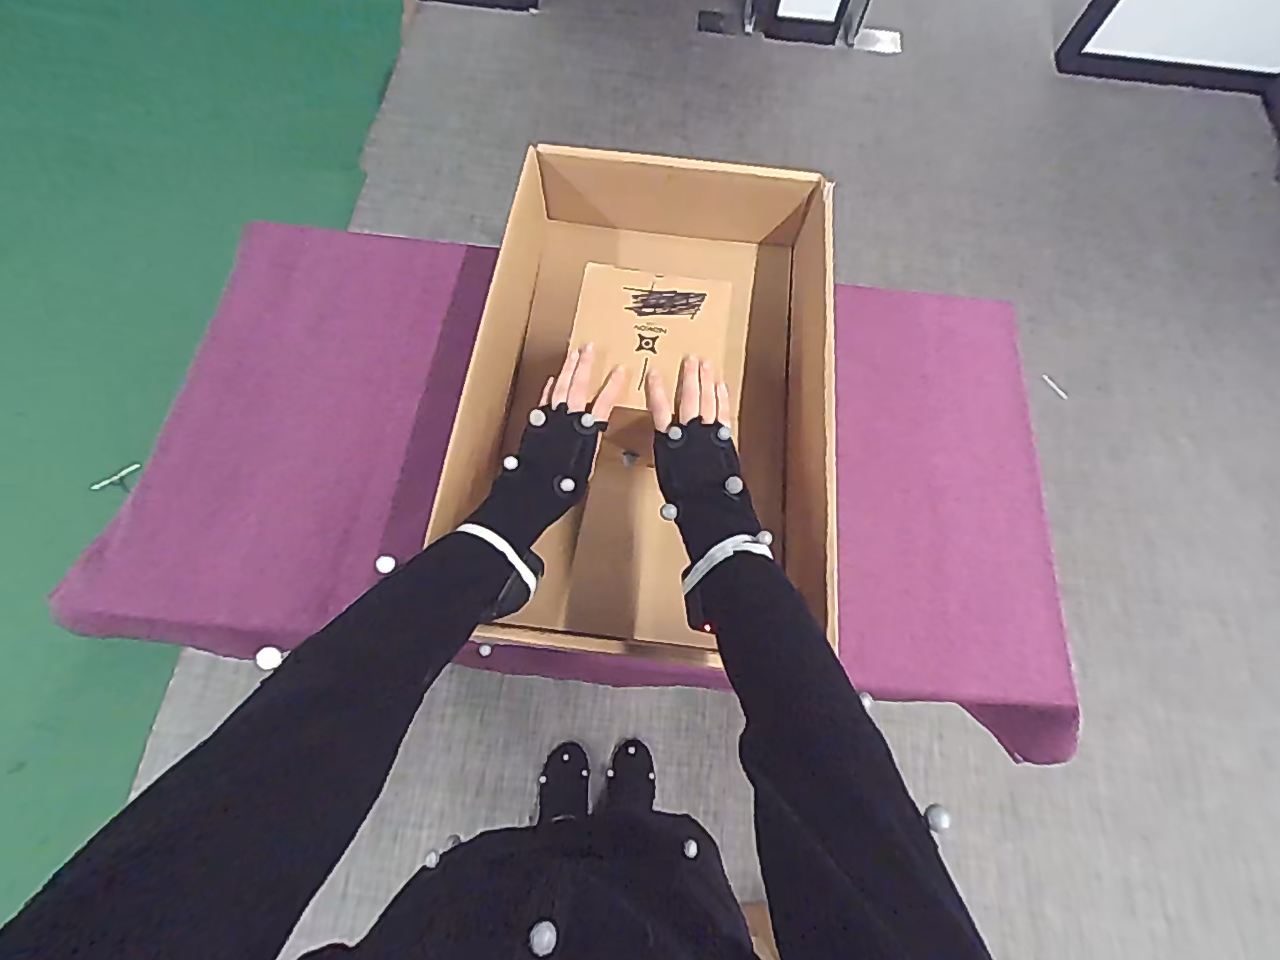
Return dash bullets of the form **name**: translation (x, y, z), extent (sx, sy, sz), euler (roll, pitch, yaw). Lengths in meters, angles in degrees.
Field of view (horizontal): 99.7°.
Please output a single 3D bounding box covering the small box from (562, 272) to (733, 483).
- **small box**: translation (0.009, -0.114, 0.649), extent (0.168, 0.176, 0.179), euler (8, 70, 1)
